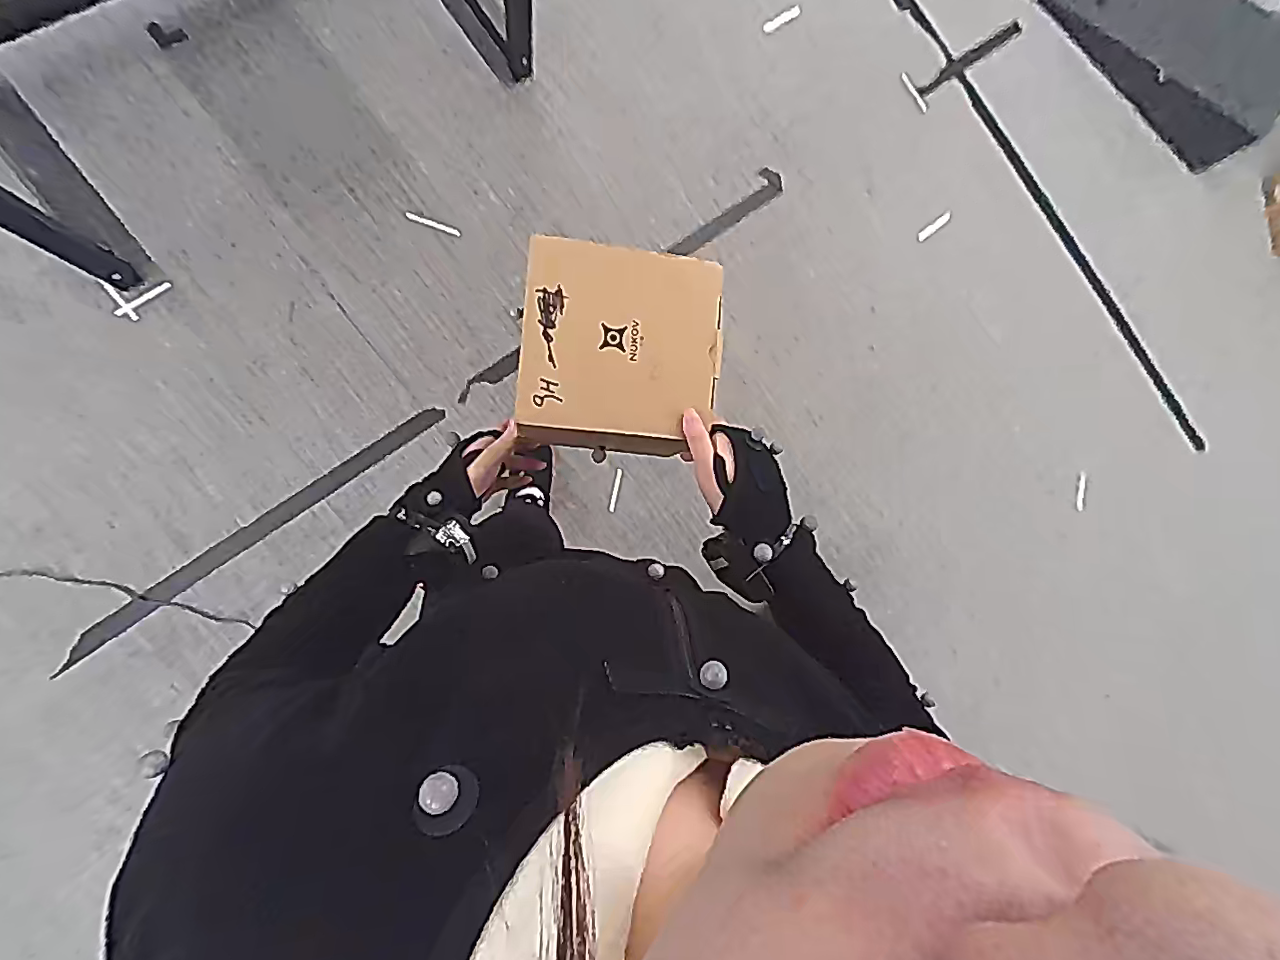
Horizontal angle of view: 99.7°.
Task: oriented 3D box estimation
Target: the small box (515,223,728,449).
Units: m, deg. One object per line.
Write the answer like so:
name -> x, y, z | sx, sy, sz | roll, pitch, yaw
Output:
small box -> -0.027, -0.124, 0.540 | 0.179, 0.176, 0.168 | 4, 87, -10

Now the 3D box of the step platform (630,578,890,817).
step platform -> 0.323, 0.553, 1.443 | 0.684, 0.204, 0.286 | -32, 93, -13

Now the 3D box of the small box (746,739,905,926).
small box -> 0.307, 0.597, 0.942 | 0.179, 0.176, 0.168 | -37, 93, -12

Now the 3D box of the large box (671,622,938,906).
large box -> 0.339, 0.584, 1.201 | 0.408, 0.320, 0.320 | -38, 95, -12
